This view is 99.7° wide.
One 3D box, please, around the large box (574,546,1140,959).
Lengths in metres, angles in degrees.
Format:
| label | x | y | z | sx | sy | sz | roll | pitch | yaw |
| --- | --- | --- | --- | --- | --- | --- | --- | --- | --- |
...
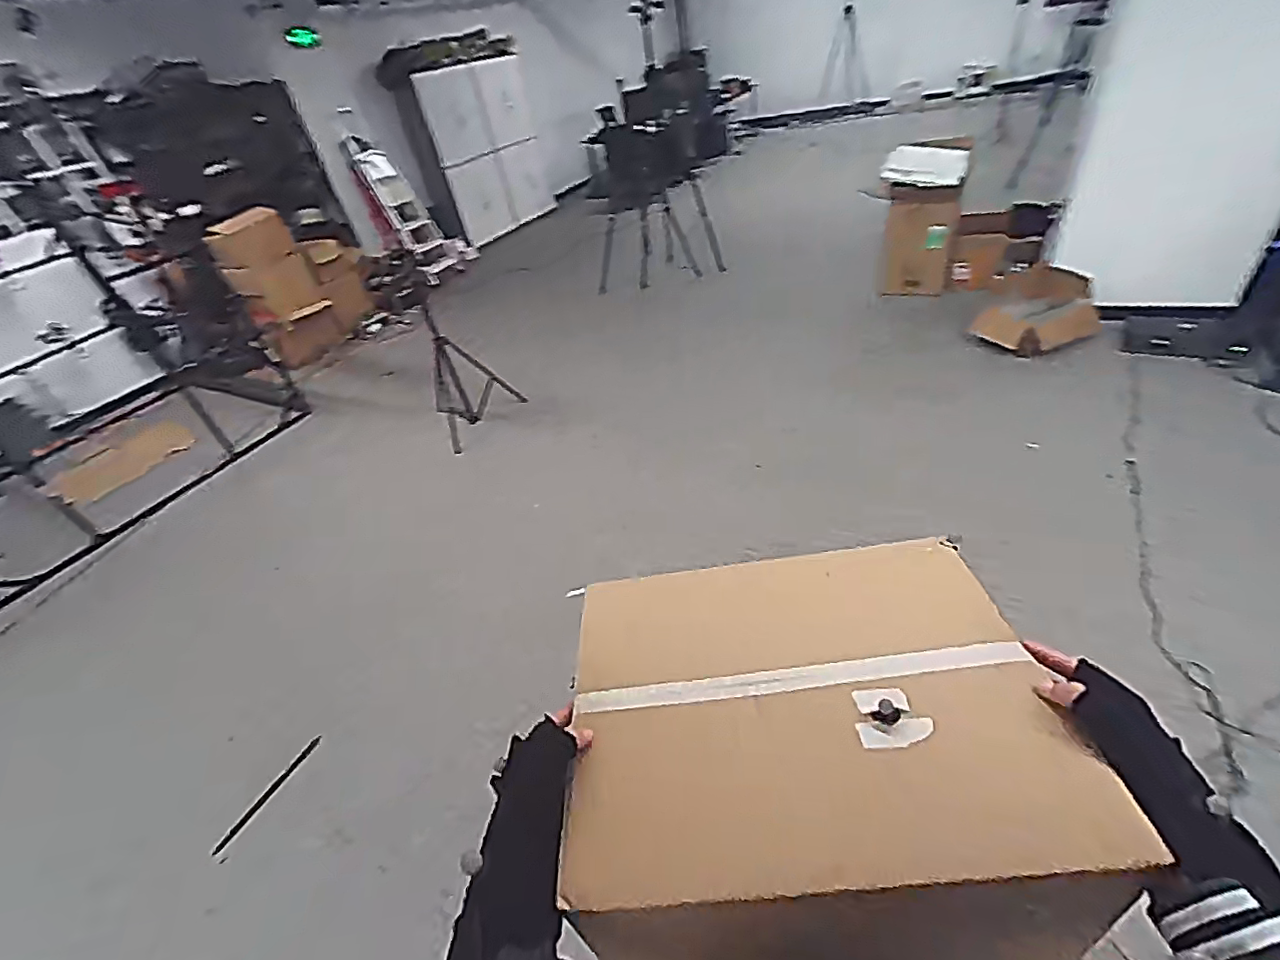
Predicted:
| label | x | y | z | sx | sy | sz | roll | pitch | yaw |
| --- | --- | --- | --- | --- | --- | --- | --- | --- | --- |
| large box | 0.168 | 0.311 | 0.584 | 0.408 | 0.320 | 0.320 | -8 | 35 | 6 |
